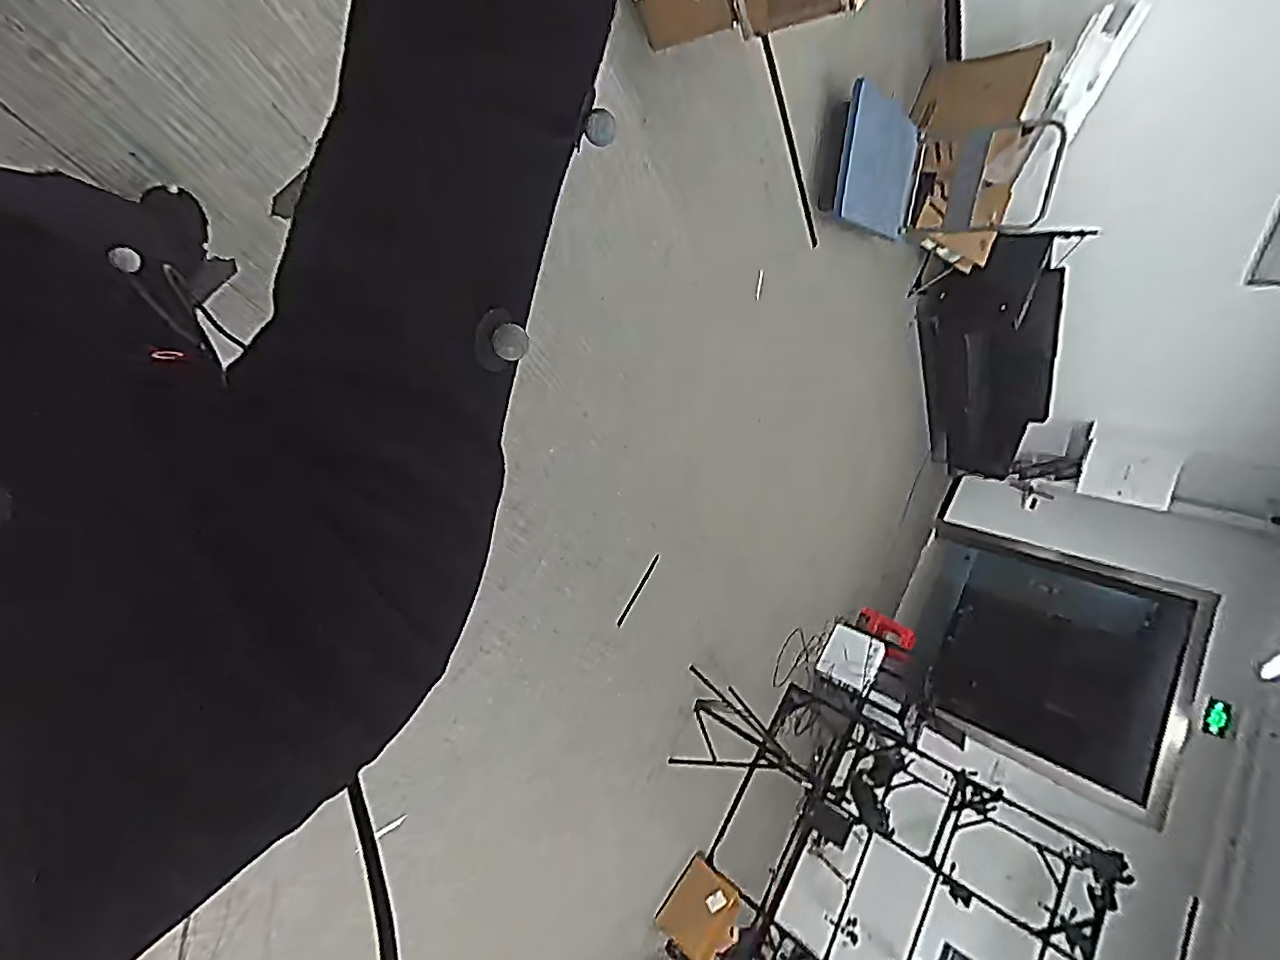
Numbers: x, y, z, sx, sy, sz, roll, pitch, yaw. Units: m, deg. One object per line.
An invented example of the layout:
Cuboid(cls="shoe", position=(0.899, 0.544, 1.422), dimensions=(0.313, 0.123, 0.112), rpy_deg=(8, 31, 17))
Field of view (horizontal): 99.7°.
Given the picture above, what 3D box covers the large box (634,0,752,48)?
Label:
Cuboid(cls="large box", position=(0.186, -1.589, 1.593), dimensions=(0.408, 0.320, 0.320), rpy_deg=(-58, 139, -15))
